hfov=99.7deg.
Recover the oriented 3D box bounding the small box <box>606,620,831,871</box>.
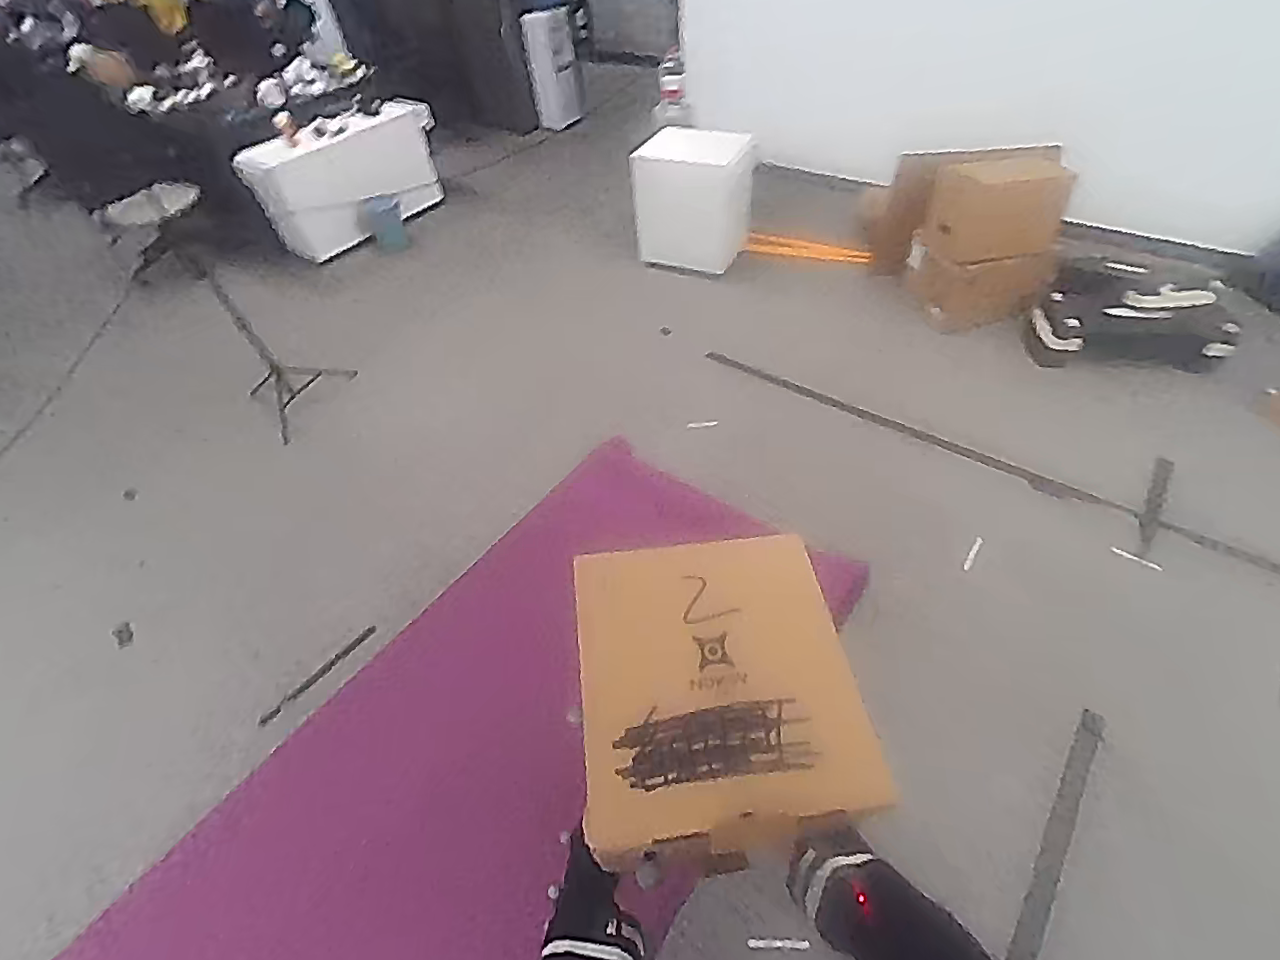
[{"bbox_3d":[0.056,0.259,0.524,0.168,0.176,0.179,-6,53,-5],"label":"small box"}]
